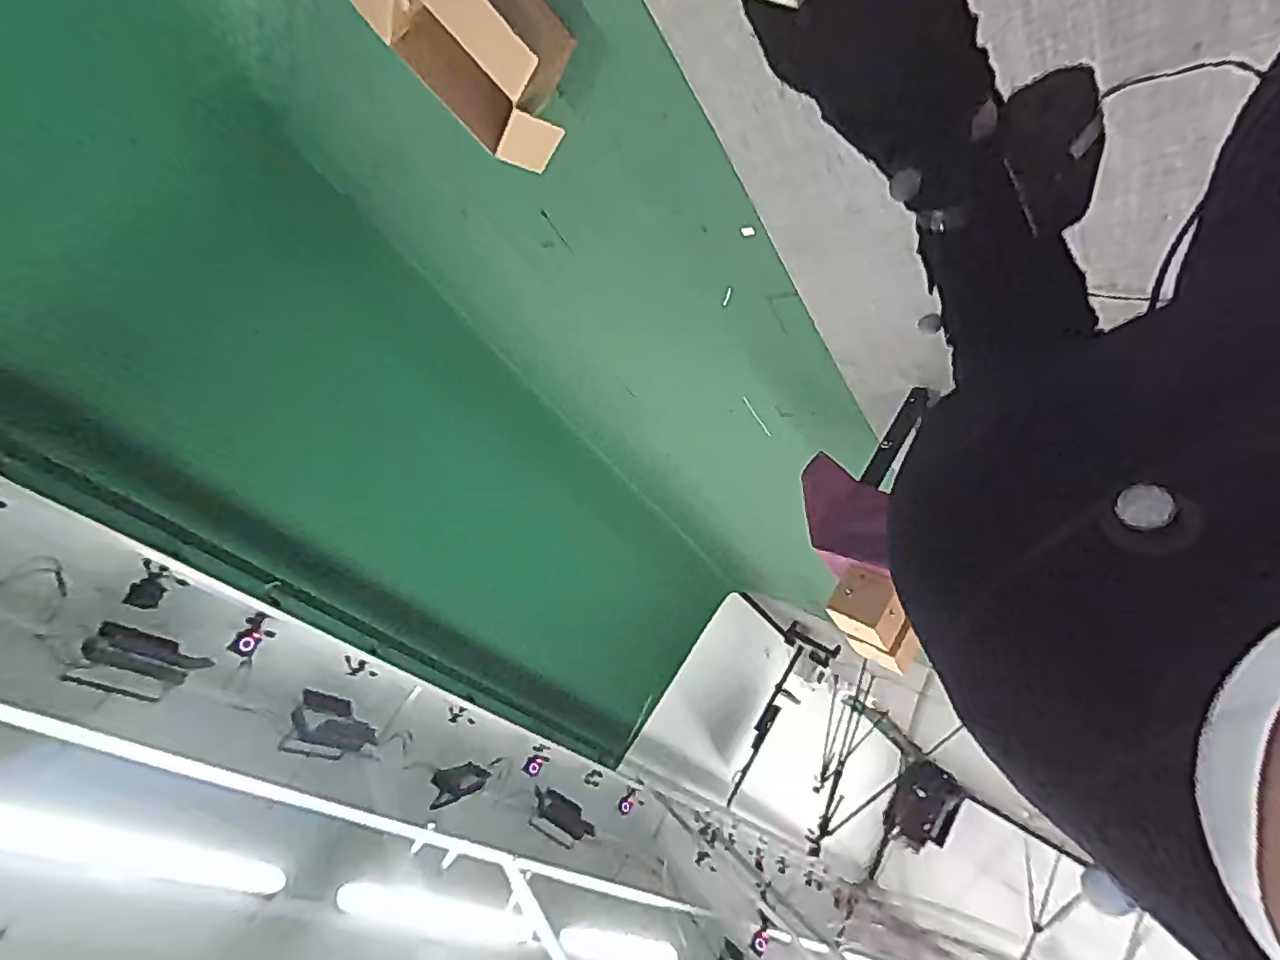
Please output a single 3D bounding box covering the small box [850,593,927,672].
[{"bbox_3d":[0.839,0.509,1.819,0.168,0.176,0.179,21,159,45],"label":"small box"}]
